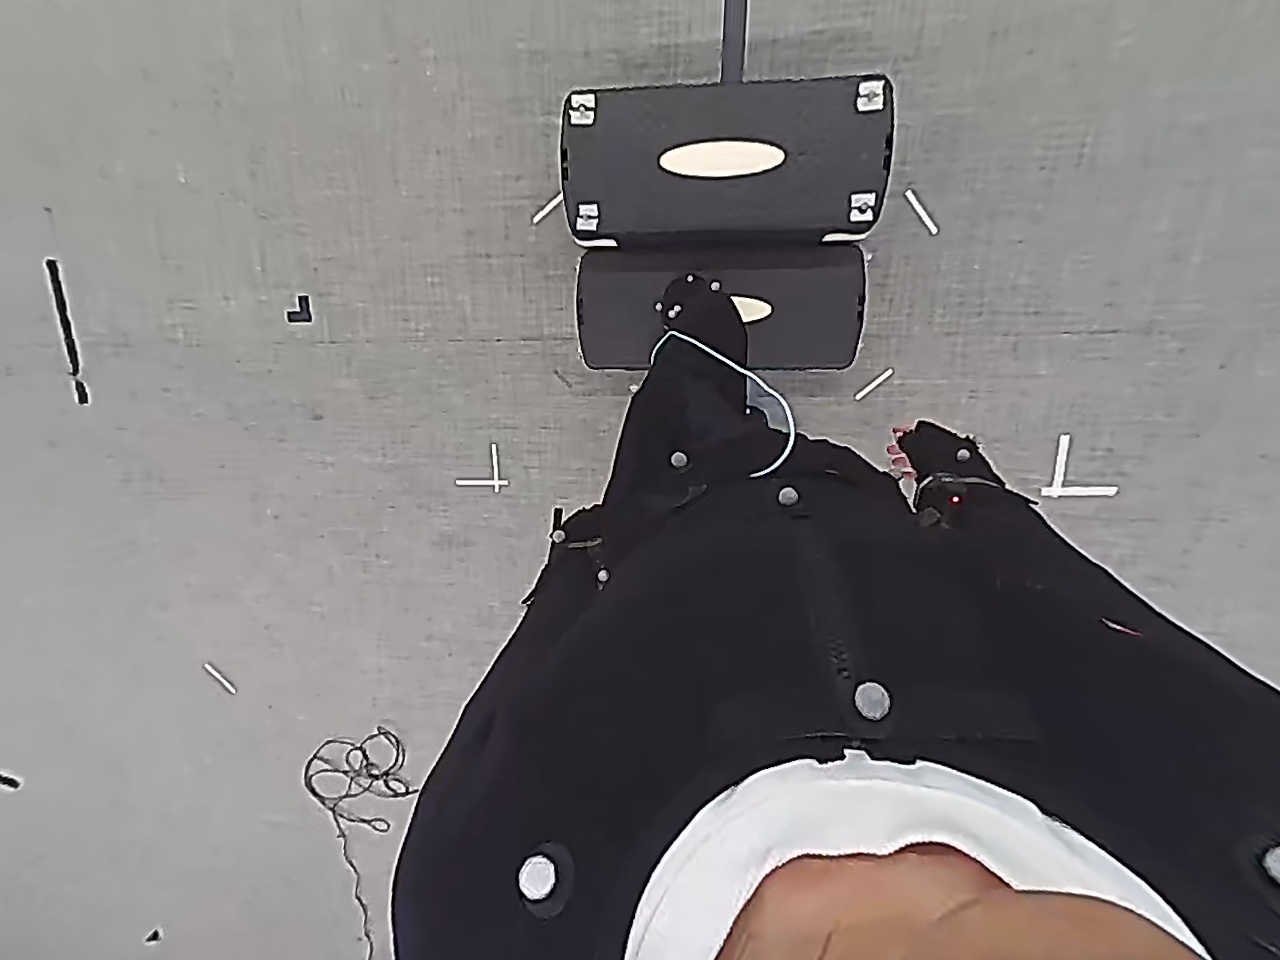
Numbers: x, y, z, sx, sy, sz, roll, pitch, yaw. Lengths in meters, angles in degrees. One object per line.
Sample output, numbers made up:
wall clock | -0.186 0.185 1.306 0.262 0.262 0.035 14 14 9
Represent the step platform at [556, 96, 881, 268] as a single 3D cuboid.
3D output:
step platform | 0.159 -0.641 1.195 0.684 0.204 0.286 0 105 5
